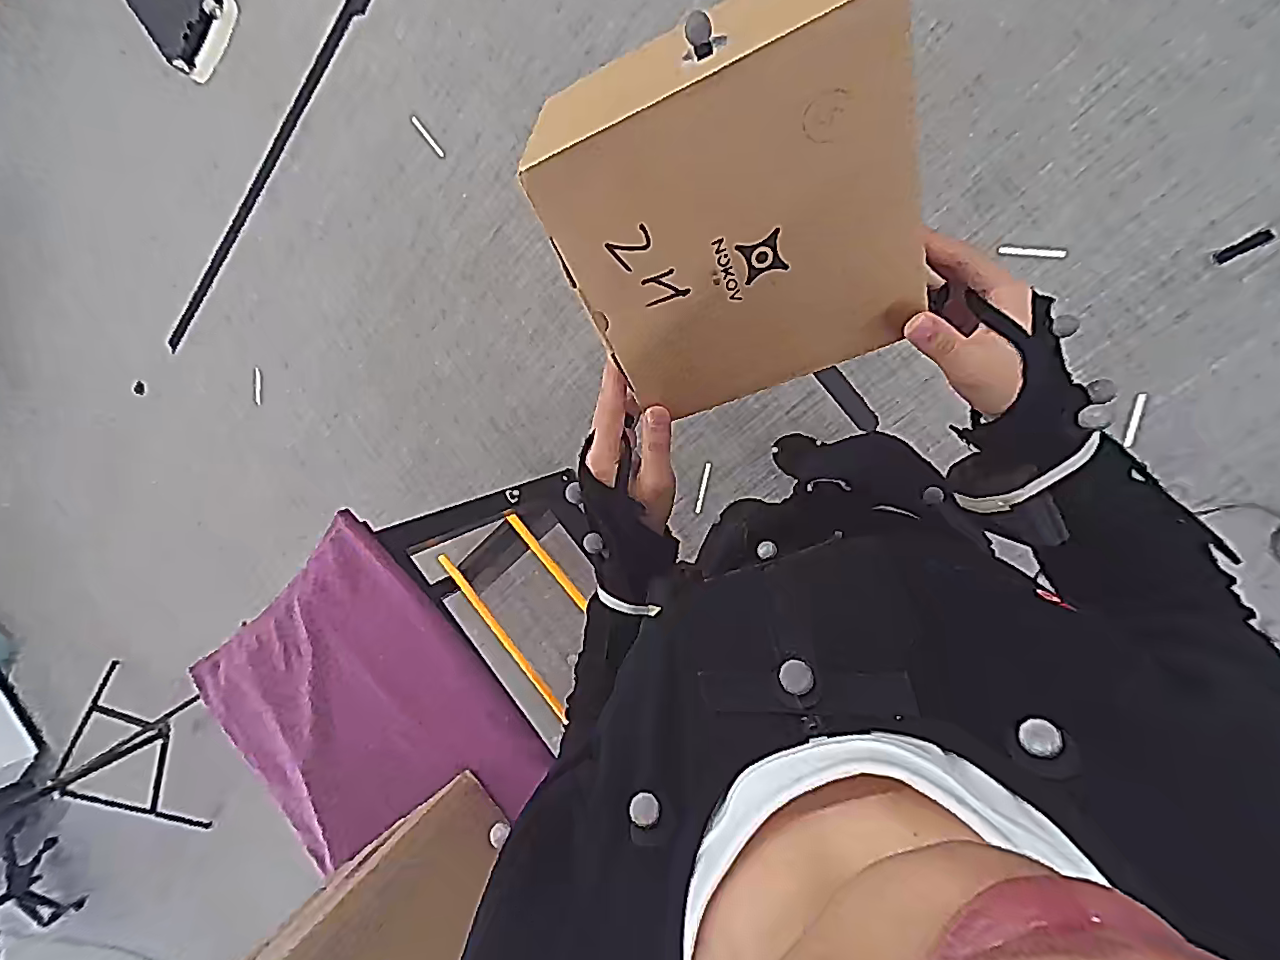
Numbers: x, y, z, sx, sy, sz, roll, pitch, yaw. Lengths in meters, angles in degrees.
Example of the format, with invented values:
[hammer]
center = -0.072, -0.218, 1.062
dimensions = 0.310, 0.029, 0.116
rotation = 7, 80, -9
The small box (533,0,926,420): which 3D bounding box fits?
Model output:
[small box]
center = 0.054, -0.173, 0.341
dimensions = 0.179, 0.176, 0.168
rotation = -18, 132, 15
